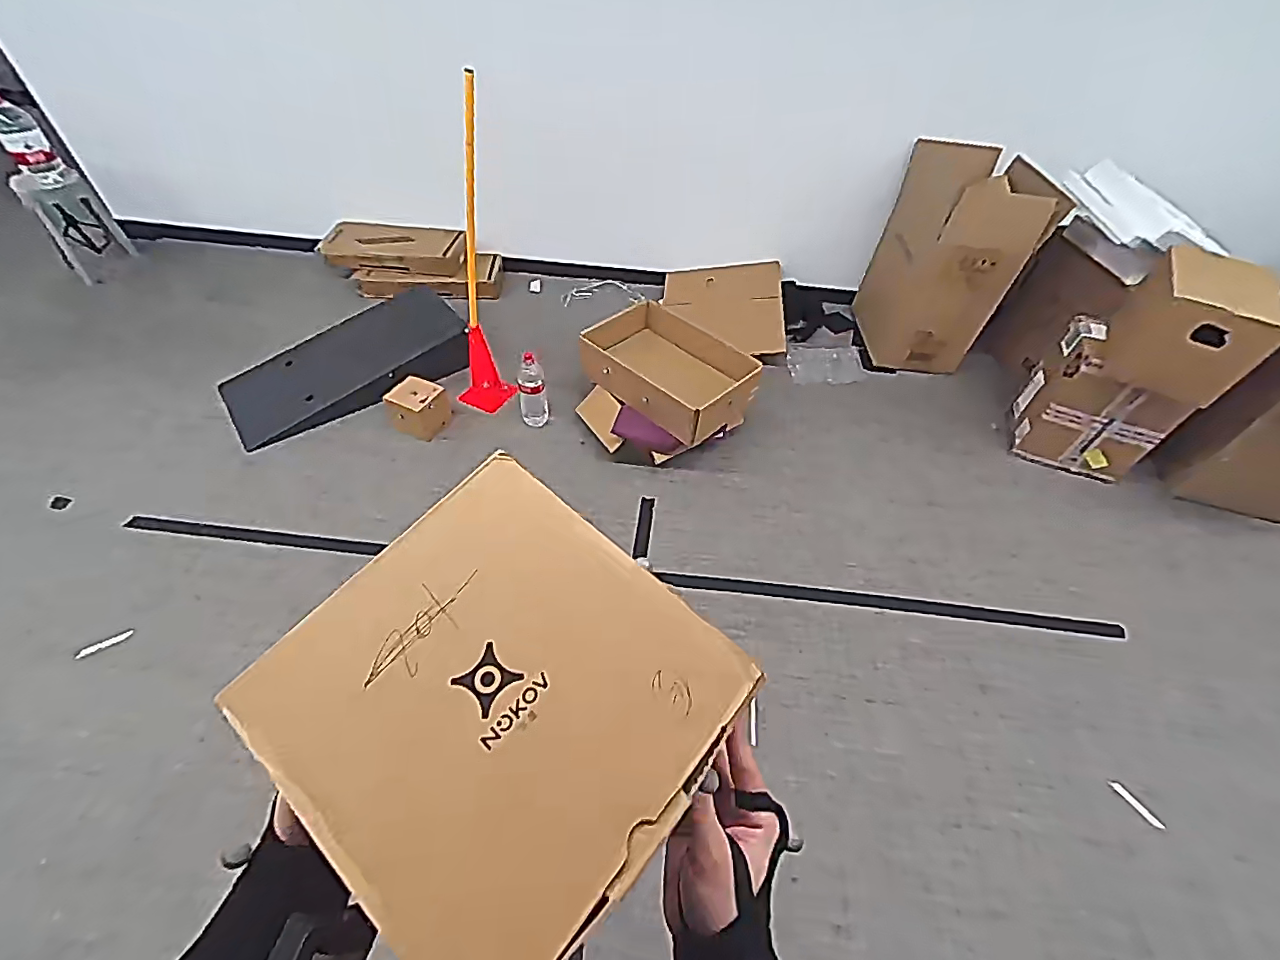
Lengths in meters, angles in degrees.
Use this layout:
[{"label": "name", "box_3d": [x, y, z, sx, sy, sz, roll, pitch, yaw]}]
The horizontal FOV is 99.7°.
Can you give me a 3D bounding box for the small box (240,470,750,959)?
[{"label": "small box", "box_3d": [-0.064, 0.133, 0.316, 0.179, 0.176, 0.168, 37, 66, 19]}]
